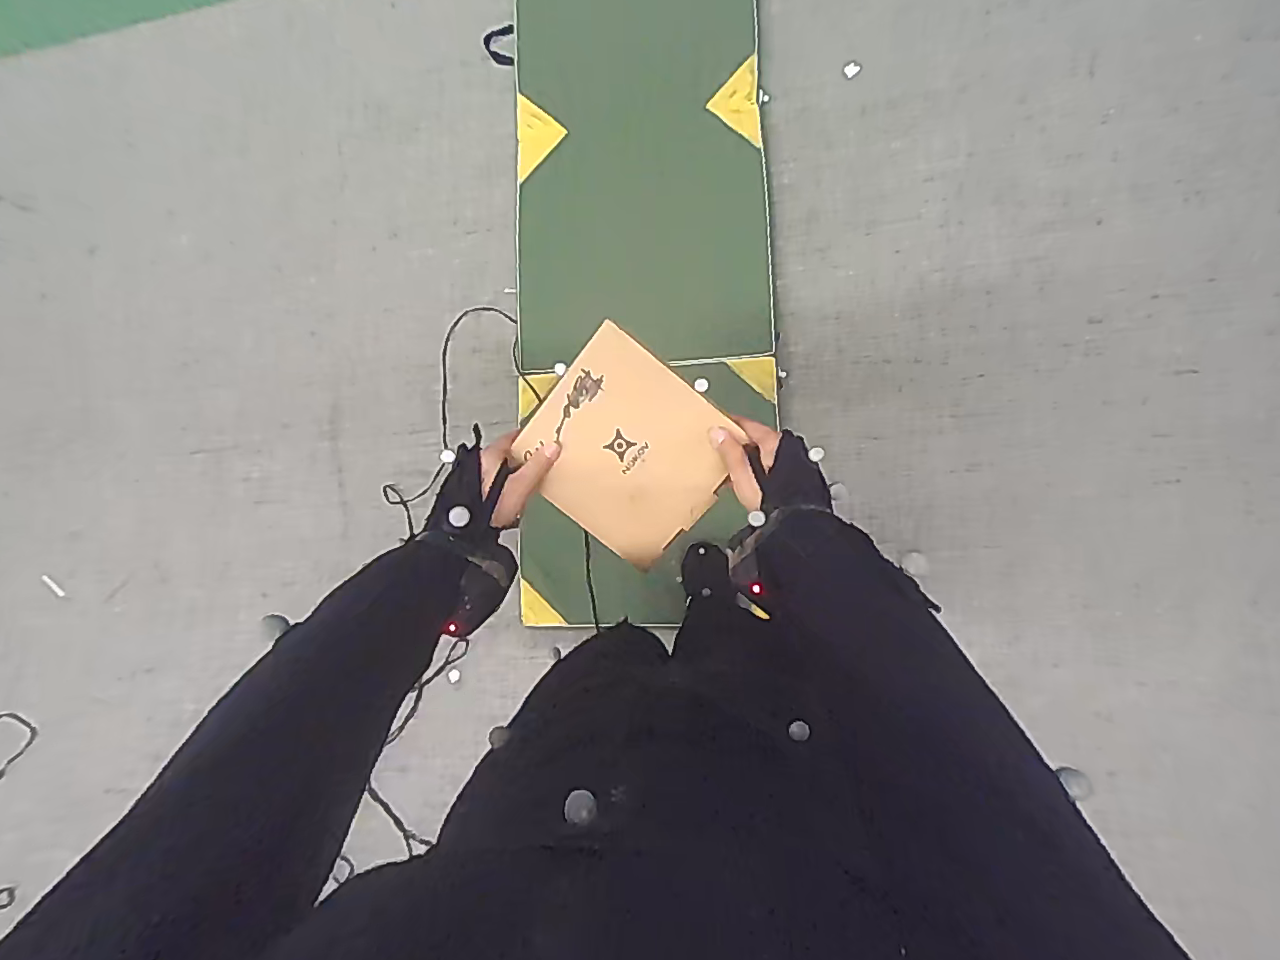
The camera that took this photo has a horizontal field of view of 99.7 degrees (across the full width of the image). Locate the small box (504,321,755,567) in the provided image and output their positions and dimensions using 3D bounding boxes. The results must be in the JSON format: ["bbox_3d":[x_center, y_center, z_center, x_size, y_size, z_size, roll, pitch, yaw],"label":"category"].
[{"bbox_3d":[-0.006,-0.046,0.572,0.179,0.176,0.168,39,102,-5],"label":"small box"}]
